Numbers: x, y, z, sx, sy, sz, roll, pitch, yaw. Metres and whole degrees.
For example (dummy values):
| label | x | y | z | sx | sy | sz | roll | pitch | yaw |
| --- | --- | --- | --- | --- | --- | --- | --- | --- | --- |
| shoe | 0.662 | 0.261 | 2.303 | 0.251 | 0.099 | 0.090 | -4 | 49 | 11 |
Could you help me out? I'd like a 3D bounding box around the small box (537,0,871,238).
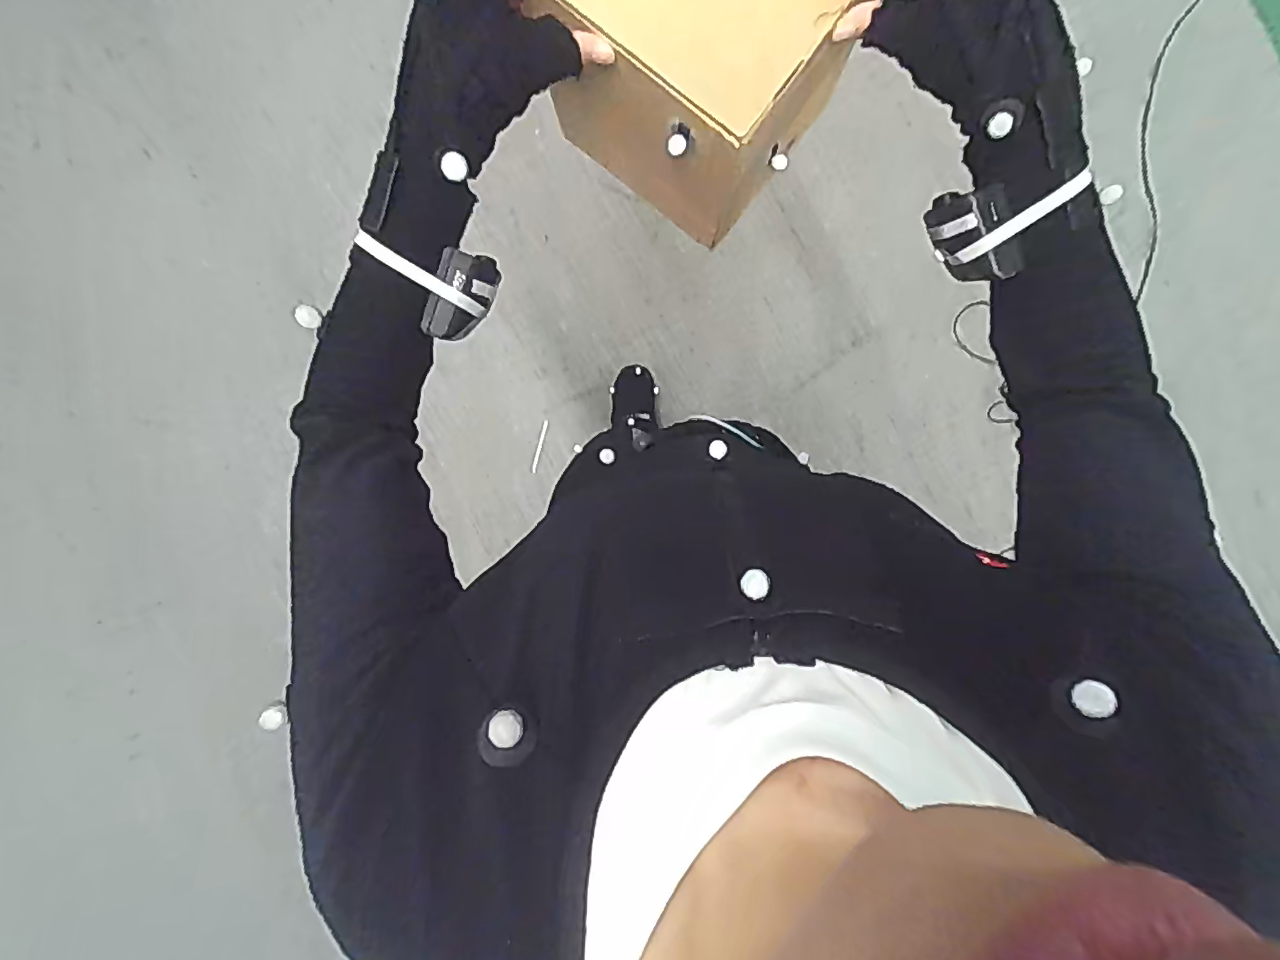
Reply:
| label | x | y | z | sx | sy | sz | roll | pitch | yaw |
| --- | --- | --- | --- | --- | --- | --- | --- | --- | --- |
| small box | 0.042 | -0.322 | 0.407 | 0.179 | 0.176 | 0.168 | 38 | 91 | -1 |
